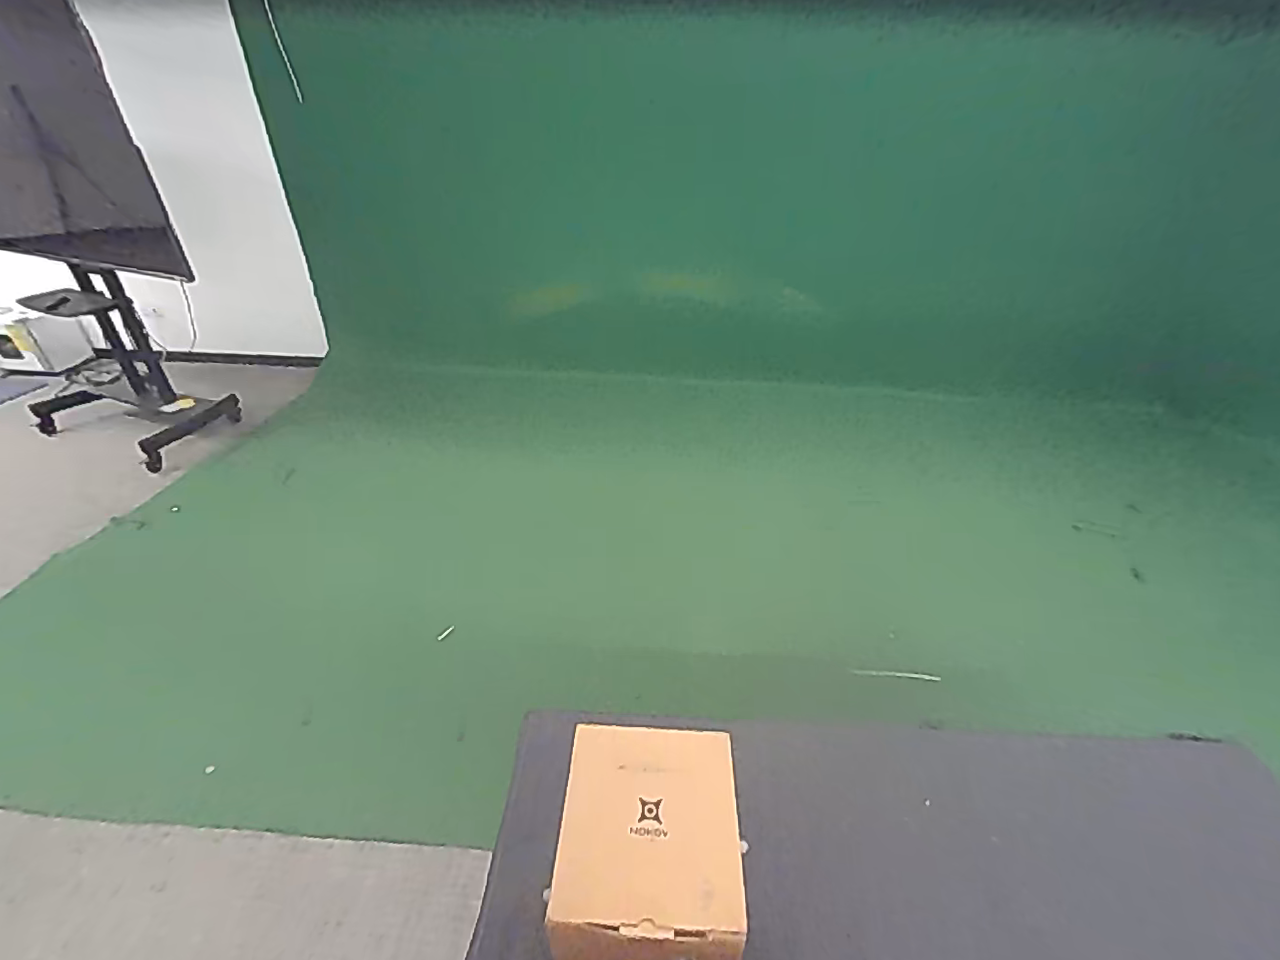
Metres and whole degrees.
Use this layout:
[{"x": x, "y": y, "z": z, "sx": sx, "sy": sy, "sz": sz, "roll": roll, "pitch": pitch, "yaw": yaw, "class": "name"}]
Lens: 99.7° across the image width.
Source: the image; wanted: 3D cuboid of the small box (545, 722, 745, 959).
[{"x": 0.006, "y": 0.376, "z": 0.545, "sx": 0.168, "sy": 0.176, "sz": 0.179, "roll": 3, "pitch": 32, "yaw": 1, "class": "small box"}]
